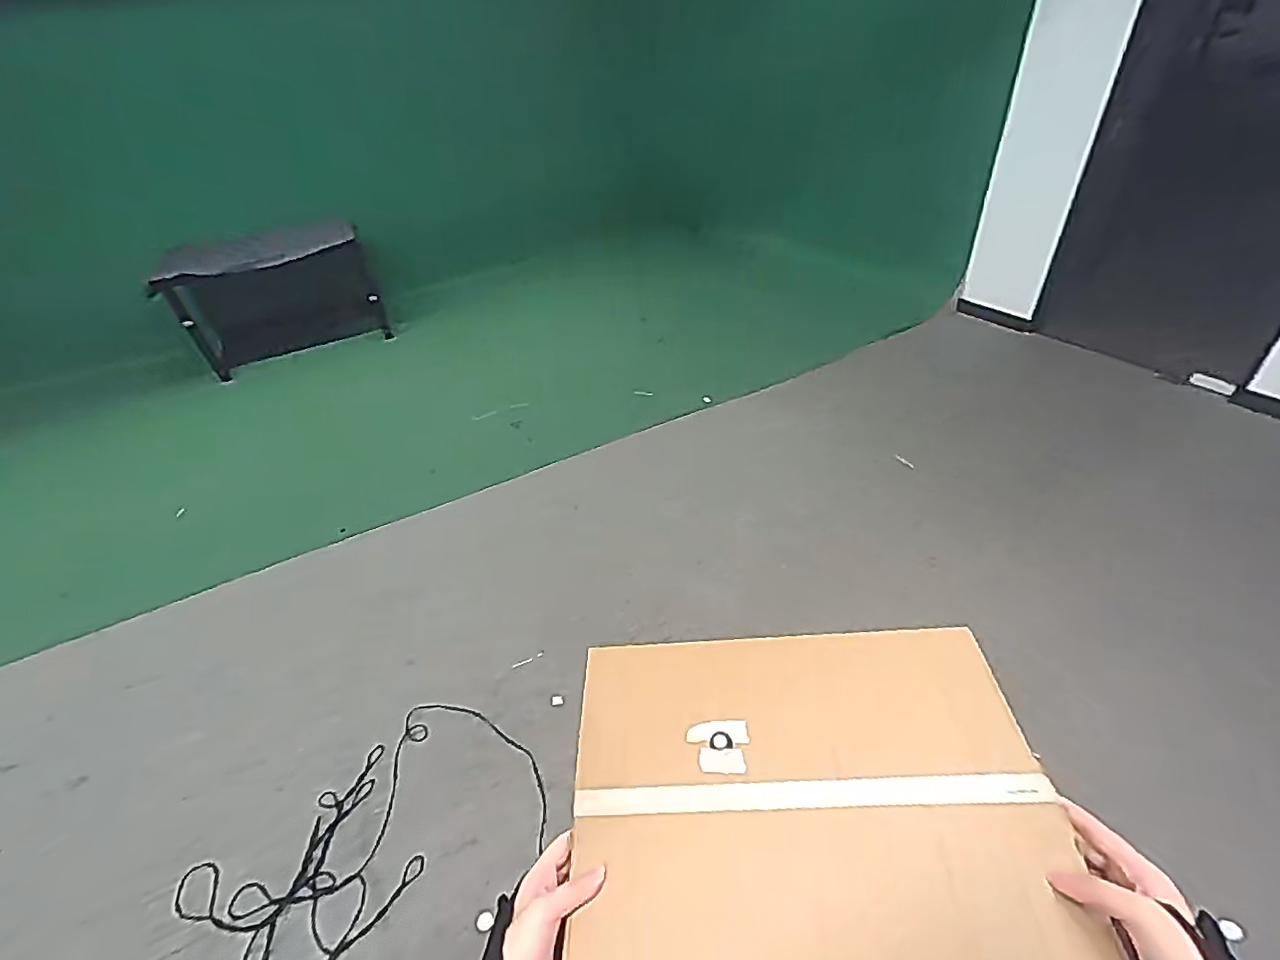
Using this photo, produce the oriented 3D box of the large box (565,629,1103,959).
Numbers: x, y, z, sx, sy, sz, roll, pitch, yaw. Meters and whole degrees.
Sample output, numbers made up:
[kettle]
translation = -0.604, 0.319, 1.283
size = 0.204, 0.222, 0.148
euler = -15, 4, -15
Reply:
[large box]
translation = 0.160, 0.392, 0.587
size = 0.408, 0.320, 0.320
euler = -7, 44, 7
